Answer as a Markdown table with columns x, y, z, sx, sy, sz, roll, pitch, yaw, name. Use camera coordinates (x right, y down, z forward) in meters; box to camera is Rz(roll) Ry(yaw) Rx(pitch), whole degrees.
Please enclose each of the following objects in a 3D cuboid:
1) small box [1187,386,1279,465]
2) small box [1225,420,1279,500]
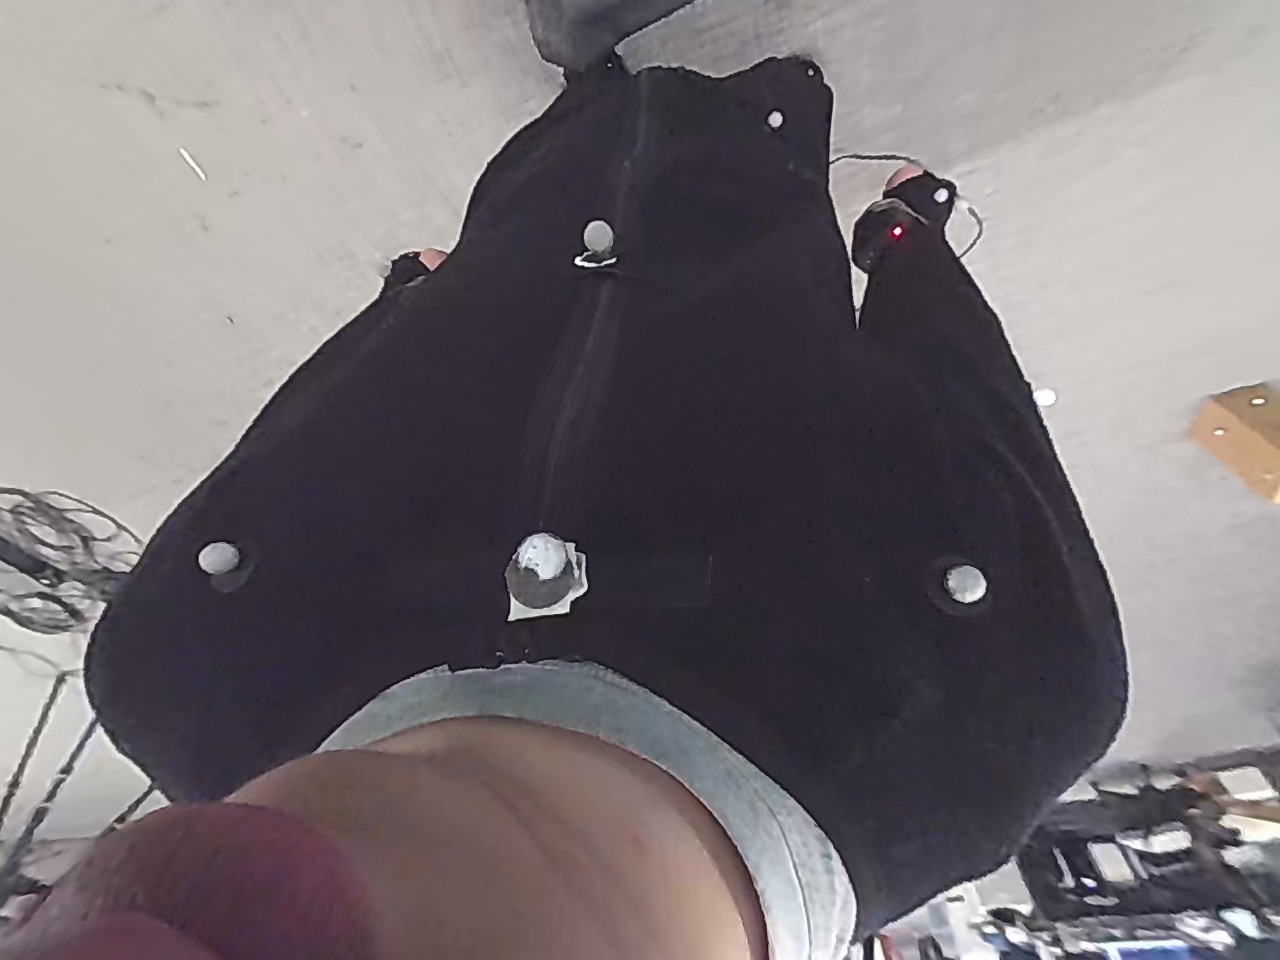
| x | y | z | sx | sy | sz | roll | pitch | yaw | name |
| --- | --- | --- | --- | --- | --- | --- | --- | --- | --- |
| 1.939 | -0.183 | 1.745 | 0.168 | 0.176 | 0.179 | -15 | 131 | 12 | small box |
| 1.942 | -0.072 | 1.626 | 0.168 | 0.176 | 0.179 | -14 | 133 | 13 | small box |
